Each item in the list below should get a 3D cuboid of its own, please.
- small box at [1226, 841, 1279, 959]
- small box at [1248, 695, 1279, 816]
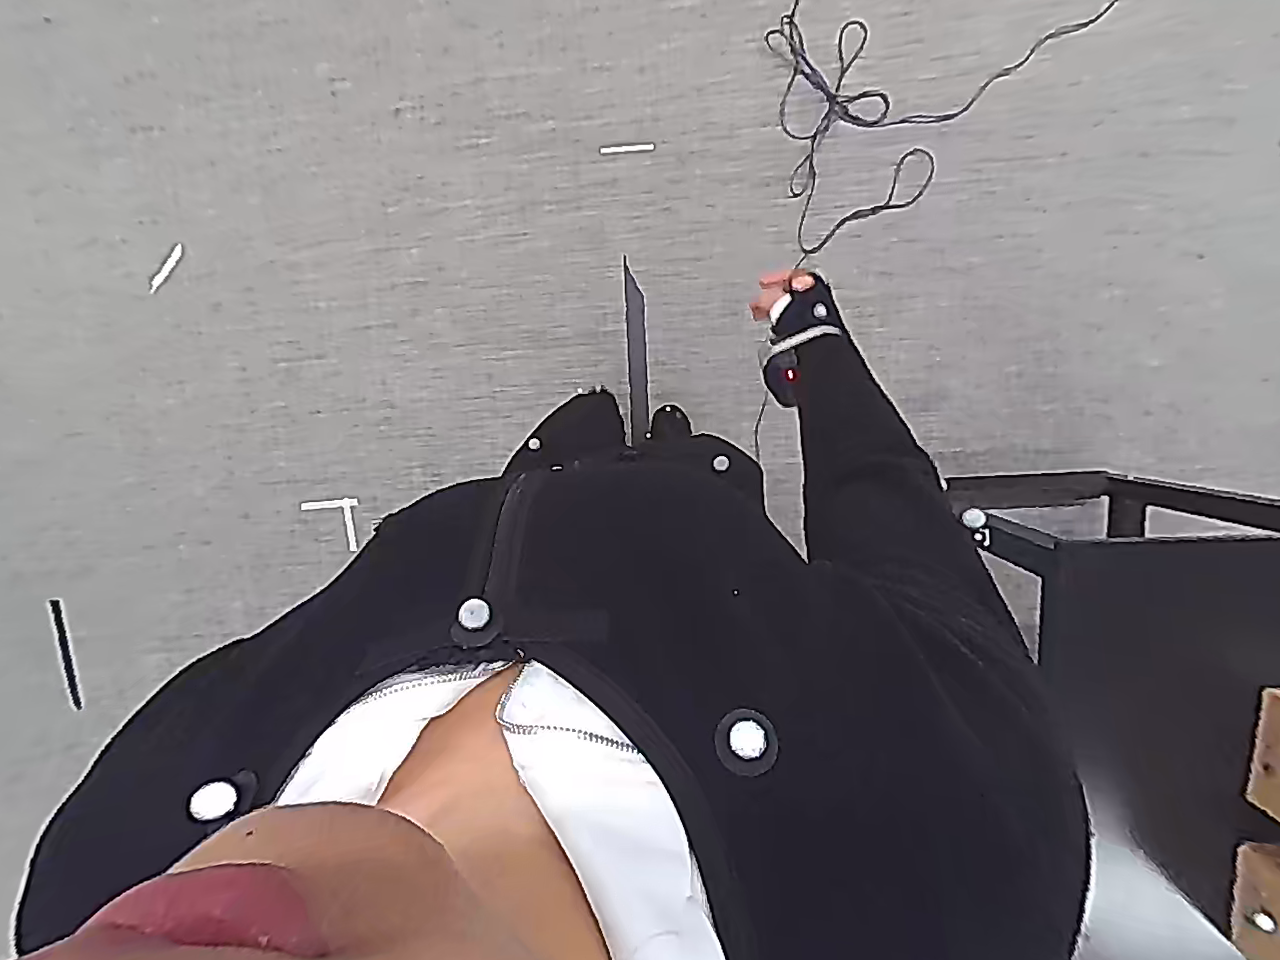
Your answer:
[{"bbox_3d":[0.923,0.594,0.684,0.179,0.176,0.168,-2,97,5],"label":"small box"},{"bbox_3d":[0.917,0.371,0.655,0.179,0.176,0.168,1,98,4],"label":"small box"}]
